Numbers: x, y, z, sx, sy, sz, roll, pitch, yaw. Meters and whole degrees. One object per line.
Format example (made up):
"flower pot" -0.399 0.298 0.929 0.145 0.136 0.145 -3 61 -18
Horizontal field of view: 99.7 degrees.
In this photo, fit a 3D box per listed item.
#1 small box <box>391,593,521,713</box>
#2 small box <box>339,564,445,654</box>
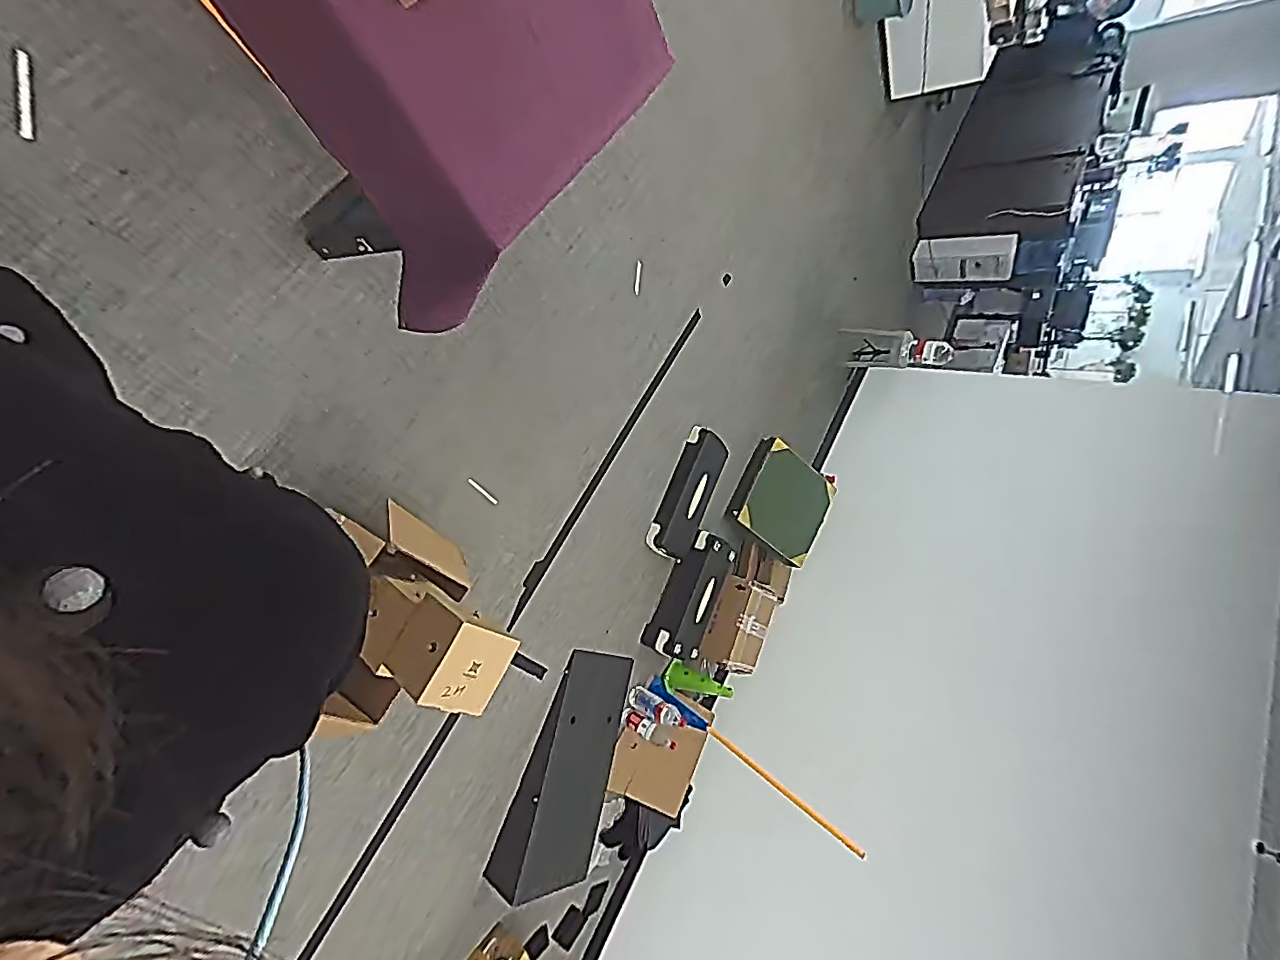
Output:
"small box" -0.396 0.365 1.155 0.168 0.176 0.179 40 73 -45
"small box" -0.636 0.327 1.380 0.168 0.176 0.179 20 89 -49
